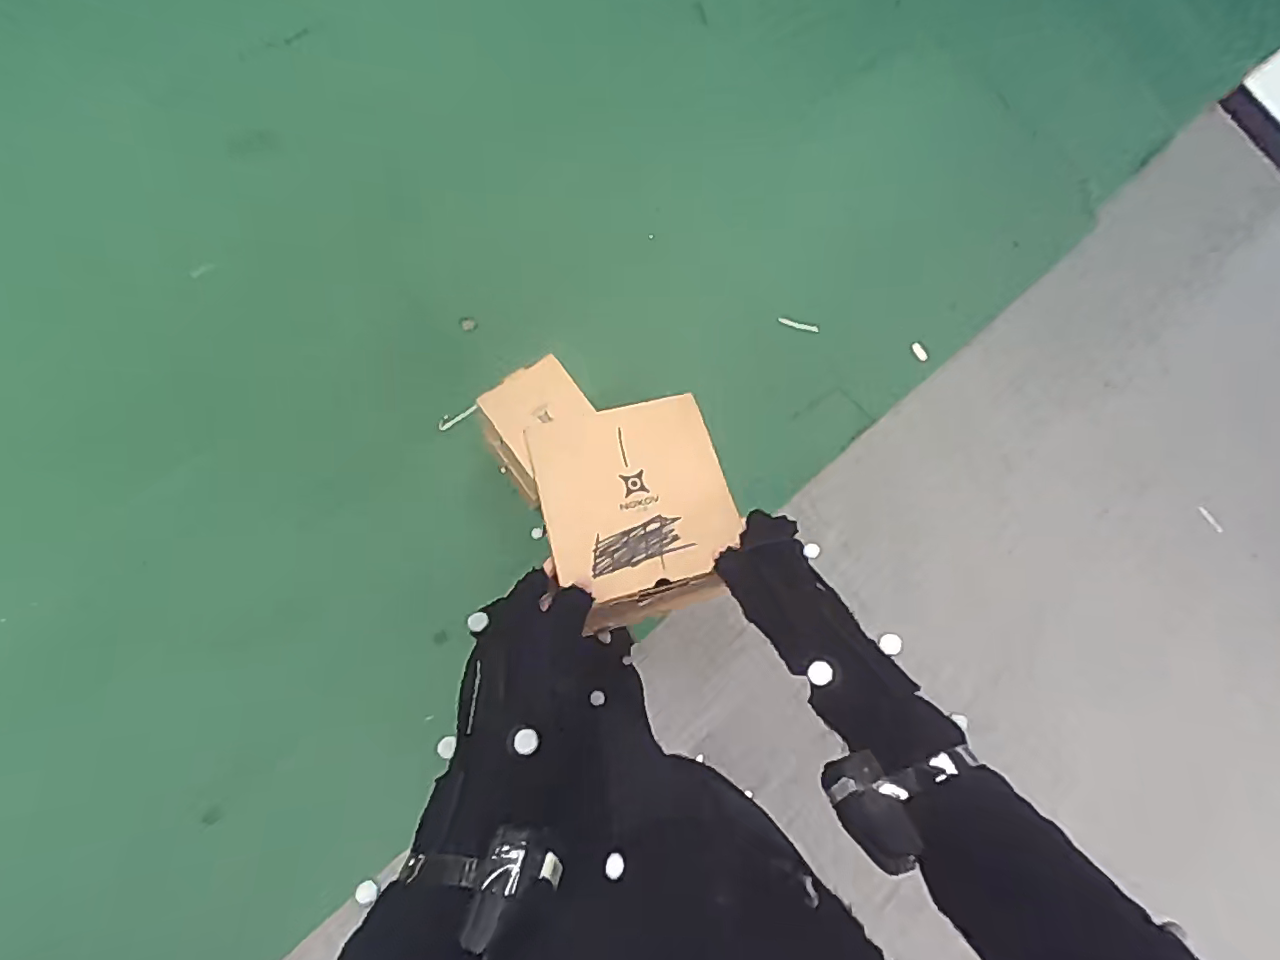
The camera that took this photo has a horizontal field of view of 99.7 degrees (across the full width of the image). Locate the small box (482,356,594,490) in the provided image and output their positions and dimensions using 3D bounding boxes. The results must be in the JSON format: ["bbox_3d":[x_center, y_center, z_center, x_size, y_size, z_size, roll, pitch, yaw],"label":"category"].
[{"bbox_3d":[-0.180,-0.099,1.038,0.168,0.176,0.179,-35,86,-15],"label":"small box"}]

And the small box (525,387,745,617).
[{"bbox_3d":[-0.012,0.034,0.559,0.168,0.176,0.179,-14,68,-10],"label":"small box"}]

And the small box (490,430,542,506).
[{"bbox_3d":[-0.210,-0.060,1.195,0.168,0.176,0.179,-36,88,-15],"label":"small box"}]
